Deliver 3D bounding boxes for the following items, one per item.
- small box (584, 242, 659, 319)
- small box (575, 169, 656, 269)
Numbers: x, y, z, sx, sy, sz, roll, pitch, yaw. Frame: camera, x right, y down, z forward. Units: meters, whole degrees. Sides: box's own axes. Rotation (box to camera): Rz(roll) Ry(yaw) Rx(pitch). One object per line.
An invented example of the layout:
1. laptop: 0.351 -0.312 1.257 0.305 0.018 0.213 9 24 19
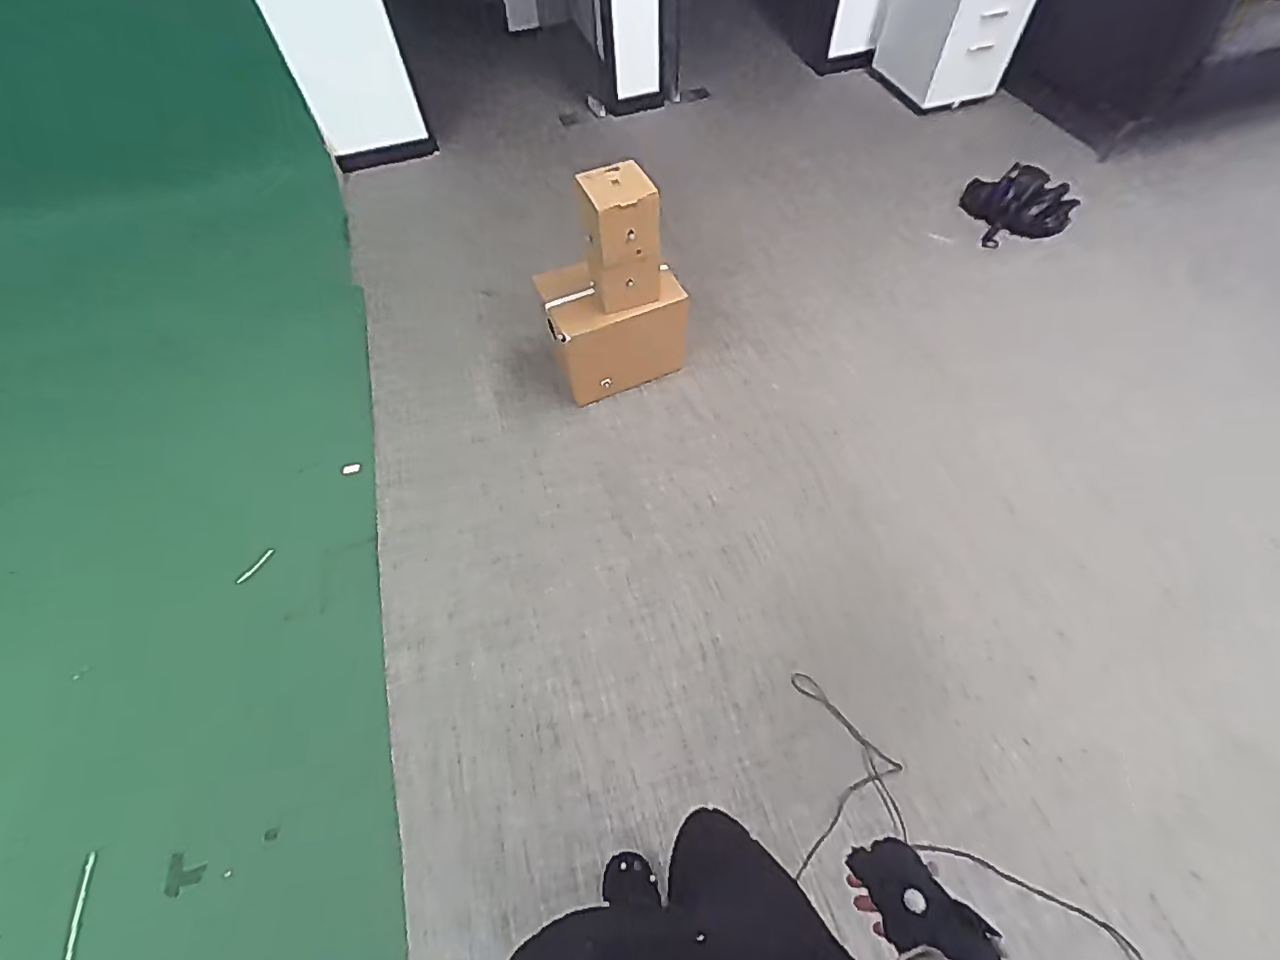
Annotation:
1. small box: -0.053 -0.607 1.593 0.179 0.176 0.168 -19 59 -8
2. small box: -0.061 -0.693 1.454 0.168 0.176 0.179 -20 60 -10
